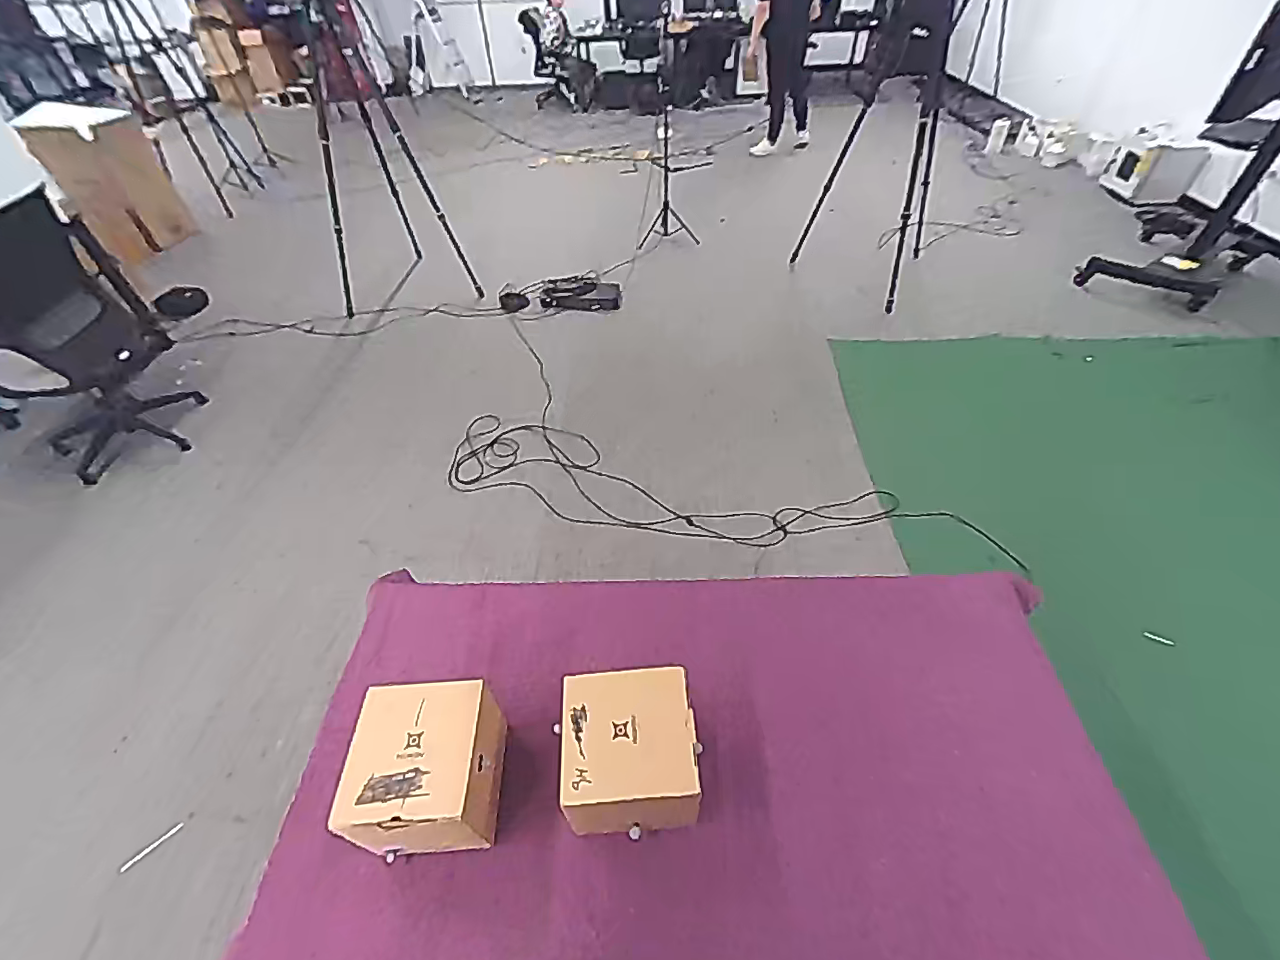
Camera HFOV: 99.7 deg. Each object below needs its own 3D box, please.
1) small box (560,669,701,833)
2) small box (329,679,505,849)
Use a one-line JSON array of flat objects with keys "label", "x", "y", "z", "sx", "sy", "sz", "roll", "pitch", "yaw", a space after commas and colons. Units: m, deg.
[{"label": "small box", "x": -0.014, "y": 0.388, "z": 0.772, "sx": 0.179, "sy": 0.176, "sz": 0.168, "roll": -4, "pitch": 46, "yaw": -1}, {"label": "small box", "x": -0.296, "y": 0.405, "z": 0.766, "sx": 0.168, "sy": 0.176, "sz": 0.179, "roll": -3, "pitch": 45, "yaw": -1}]
